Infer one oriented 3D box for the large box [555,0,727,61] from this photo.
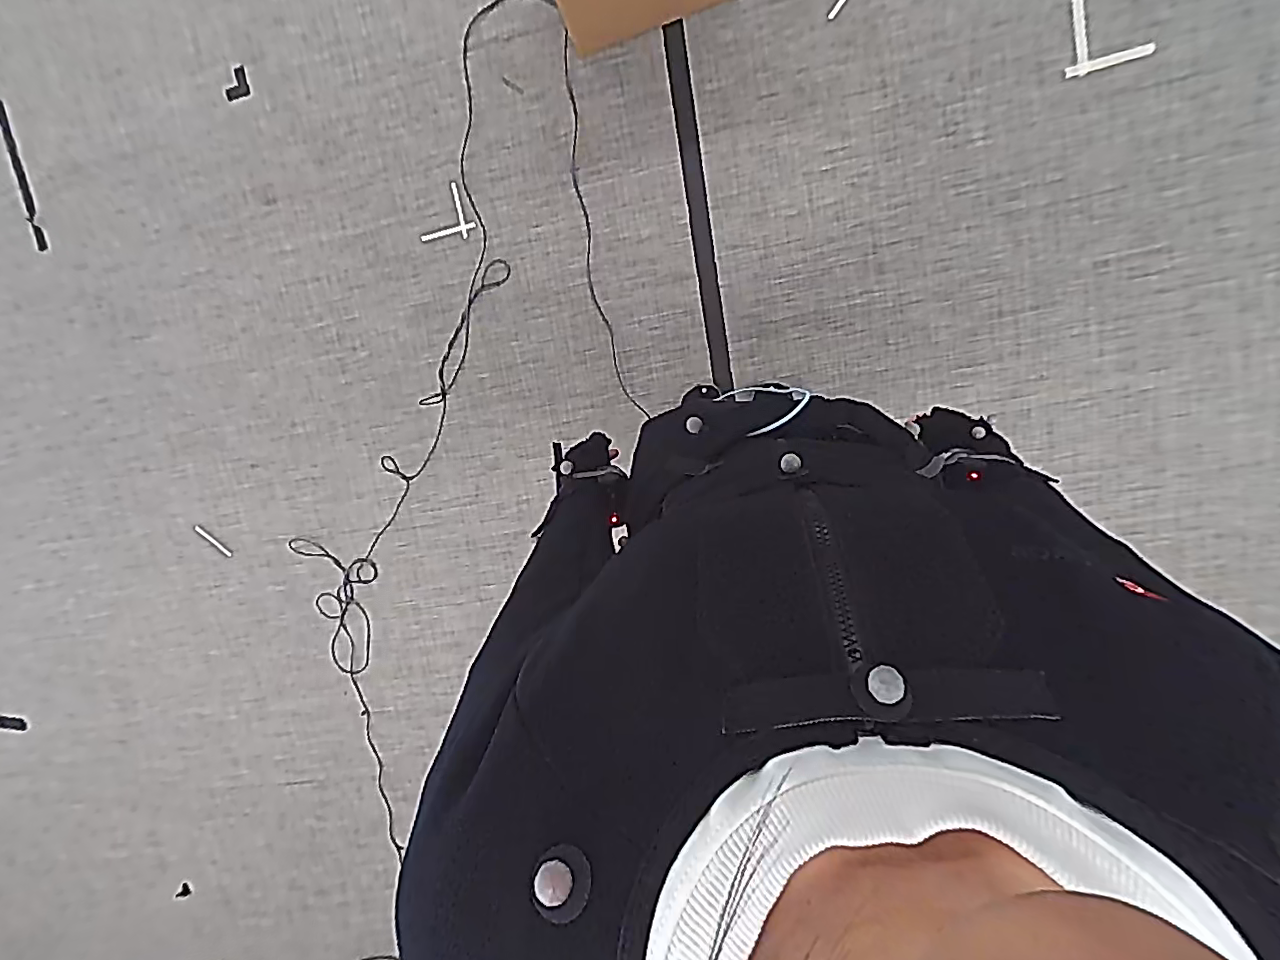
[{"bbox_3d":[-0.022,-1.173,1.108,0.408,0.320,0.320,-15,99,8],"label":"large box"}]
